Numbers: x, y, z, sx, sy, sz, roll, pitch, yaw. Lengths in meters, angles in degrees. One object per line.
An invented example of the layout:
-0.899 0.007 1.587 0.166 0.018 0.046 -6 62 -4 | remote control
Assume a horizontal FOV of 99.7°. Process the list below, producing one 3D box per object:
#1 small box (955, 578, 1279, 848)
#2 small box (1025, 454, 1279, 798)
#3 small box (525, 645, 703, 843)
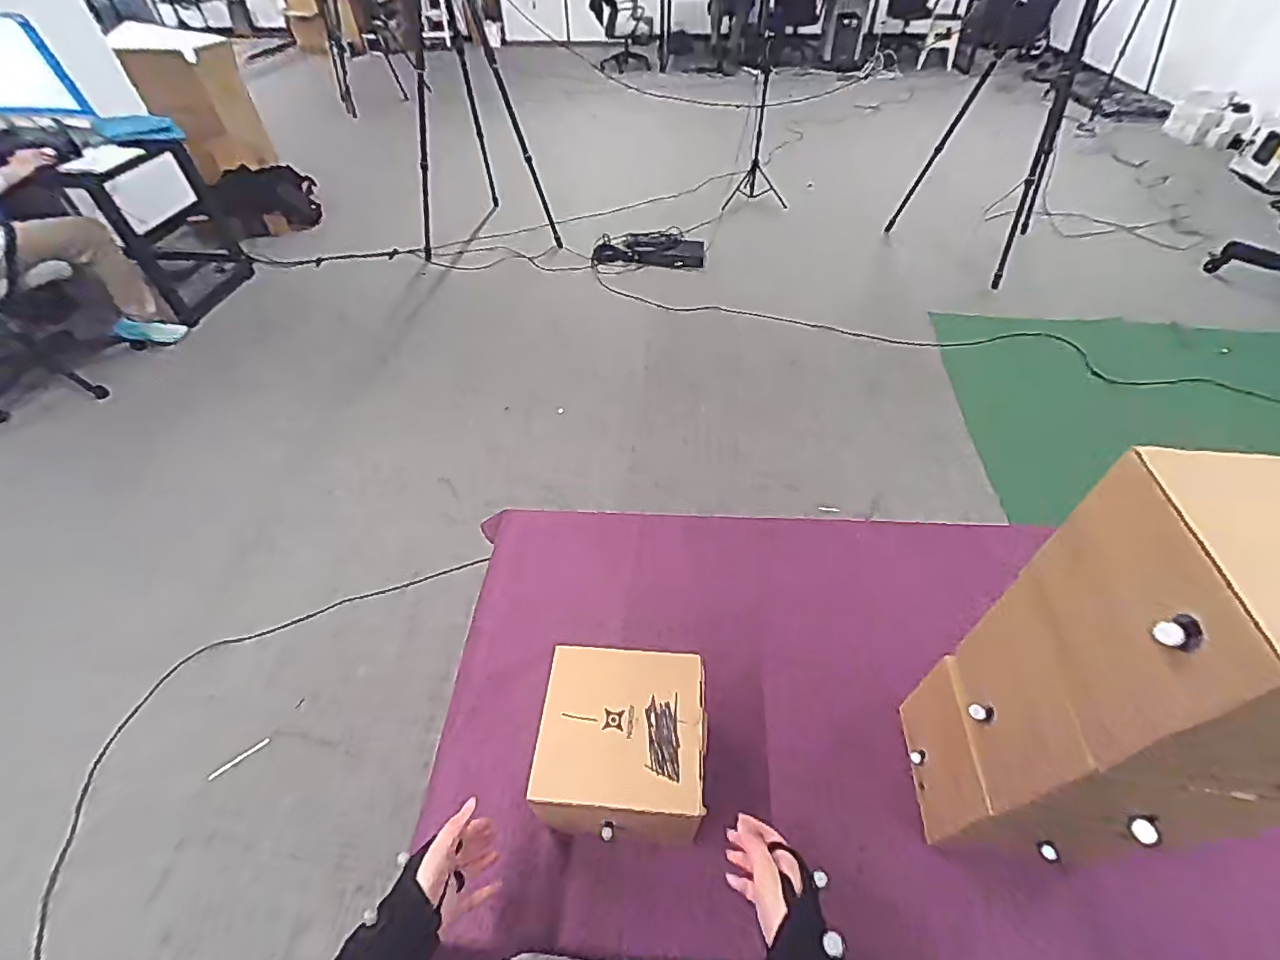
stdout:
0.424 0.218 0.501 0.168 0.176 0.179 7 49 7 | small box
0.419 0.106 0.379 0.168 0.176 0.179 6 47 6 | small box
-0.020 0.316 0.642 0.179 0.176 0.168 3 47 5 | small box
